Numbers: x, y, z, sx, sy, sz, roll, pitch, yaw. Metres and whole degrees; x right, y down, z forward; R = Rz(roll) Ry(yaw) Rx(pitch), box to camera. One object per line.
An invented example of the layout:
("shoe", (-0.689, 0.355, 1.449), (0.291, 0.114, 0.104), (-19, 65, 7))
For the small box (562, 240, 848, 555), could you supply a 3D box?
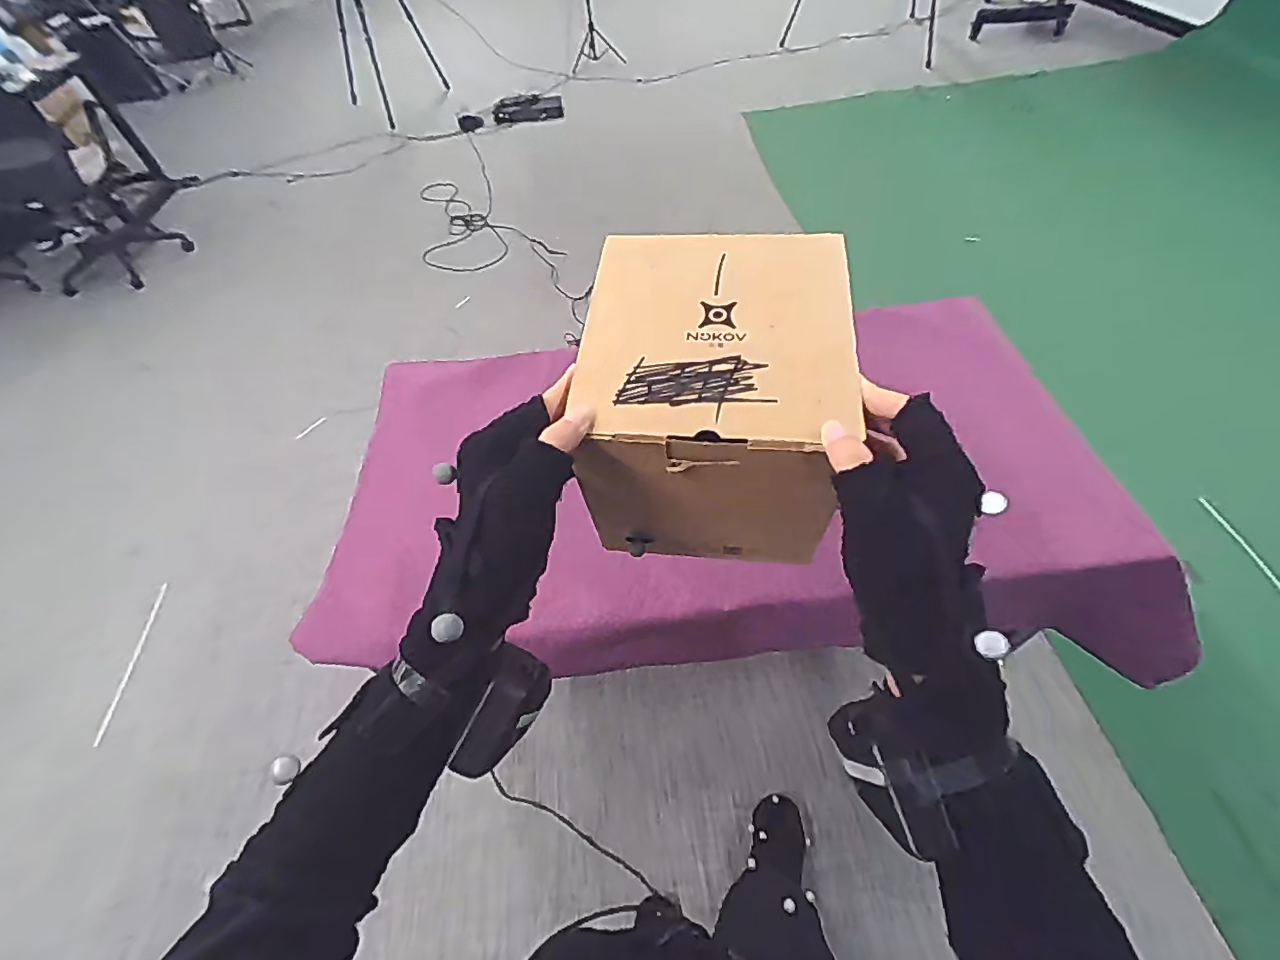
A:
("small box", (0.052, -0.055, 0.414), (0.168, 0.176, 0.179), (3, 59, 8))
